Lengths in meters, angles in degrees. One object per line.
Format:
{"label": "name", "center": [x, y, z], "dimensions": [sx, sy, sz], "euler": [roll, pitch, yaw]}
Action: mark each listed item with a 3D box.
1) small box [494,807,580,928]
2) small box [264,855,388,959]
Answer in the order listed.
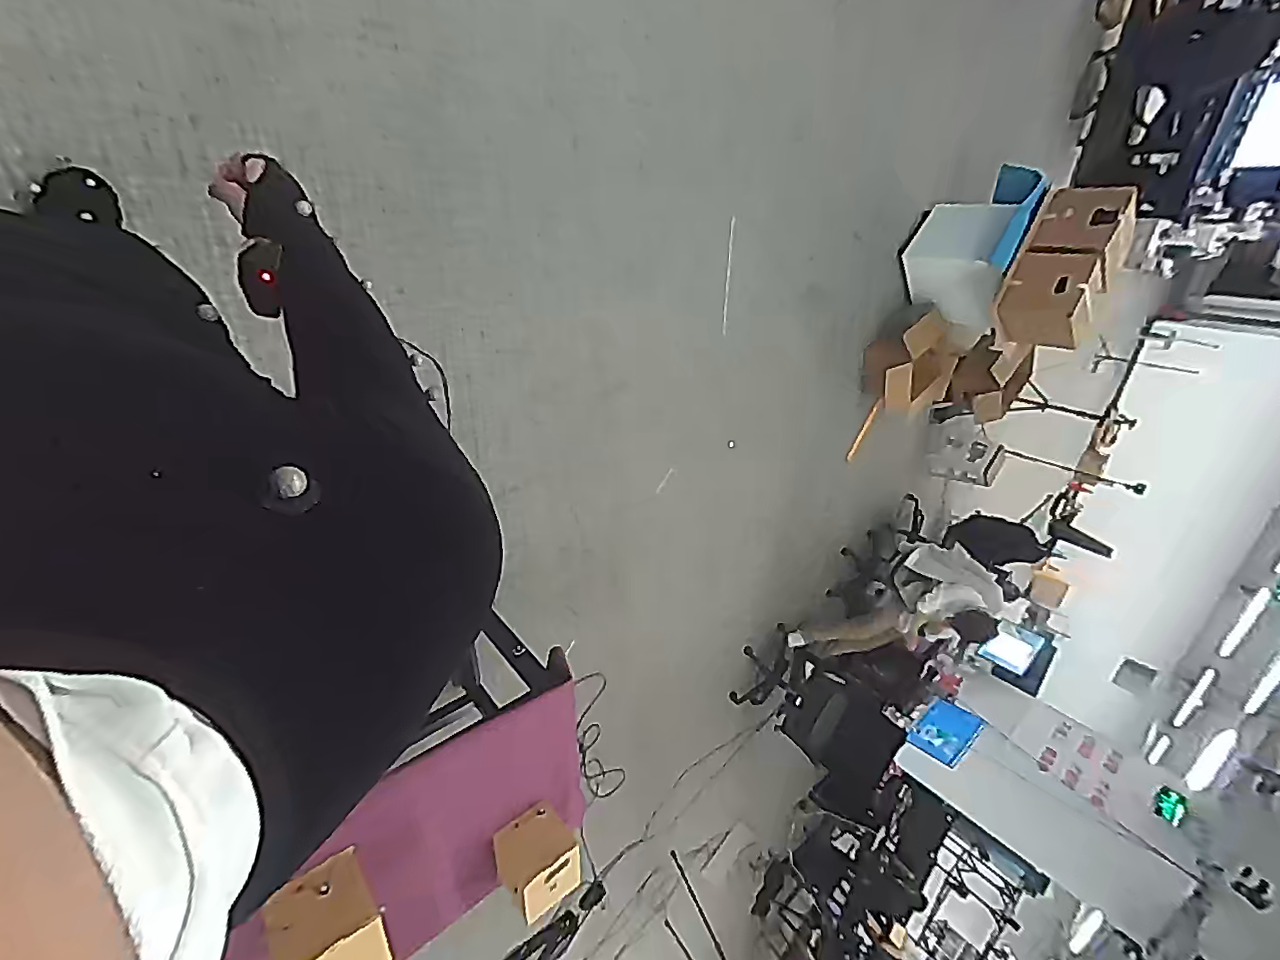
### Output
{"label": "small box", "center": [-0.277, 1.018, 1.444], "dimensions": [0.168, 0.176, 0.179], "euler": [-19, 122, -36]}
{"label": "small box", "center": [-0.613, 0.895, 1.061], "dimensions": [0.168, 0.176, 0.179], "euler": [-18, 123, -37]}
